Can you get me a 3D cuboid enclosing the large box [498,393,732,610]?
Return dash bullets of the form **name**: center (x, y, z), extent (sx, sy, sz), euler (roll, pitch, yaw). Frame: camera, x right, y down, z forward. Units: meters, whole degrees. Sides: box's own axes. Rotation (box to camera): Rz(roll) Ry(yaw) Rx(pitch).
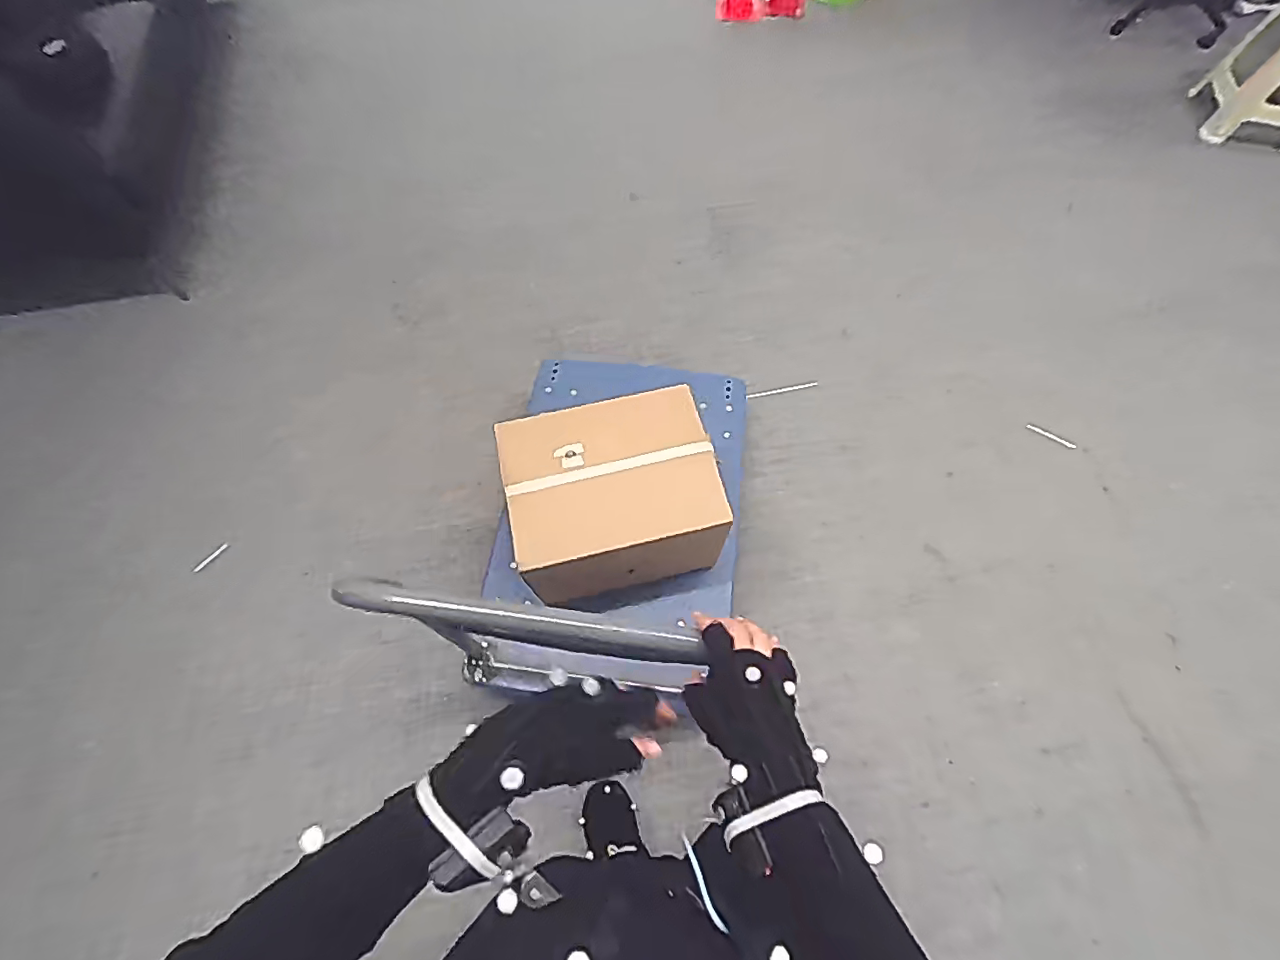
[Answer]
- **large box**: center (-0.052, 0.061, 1.183), extent (0.408, 0.320, 0.320), euler (-15, 65, -5)
